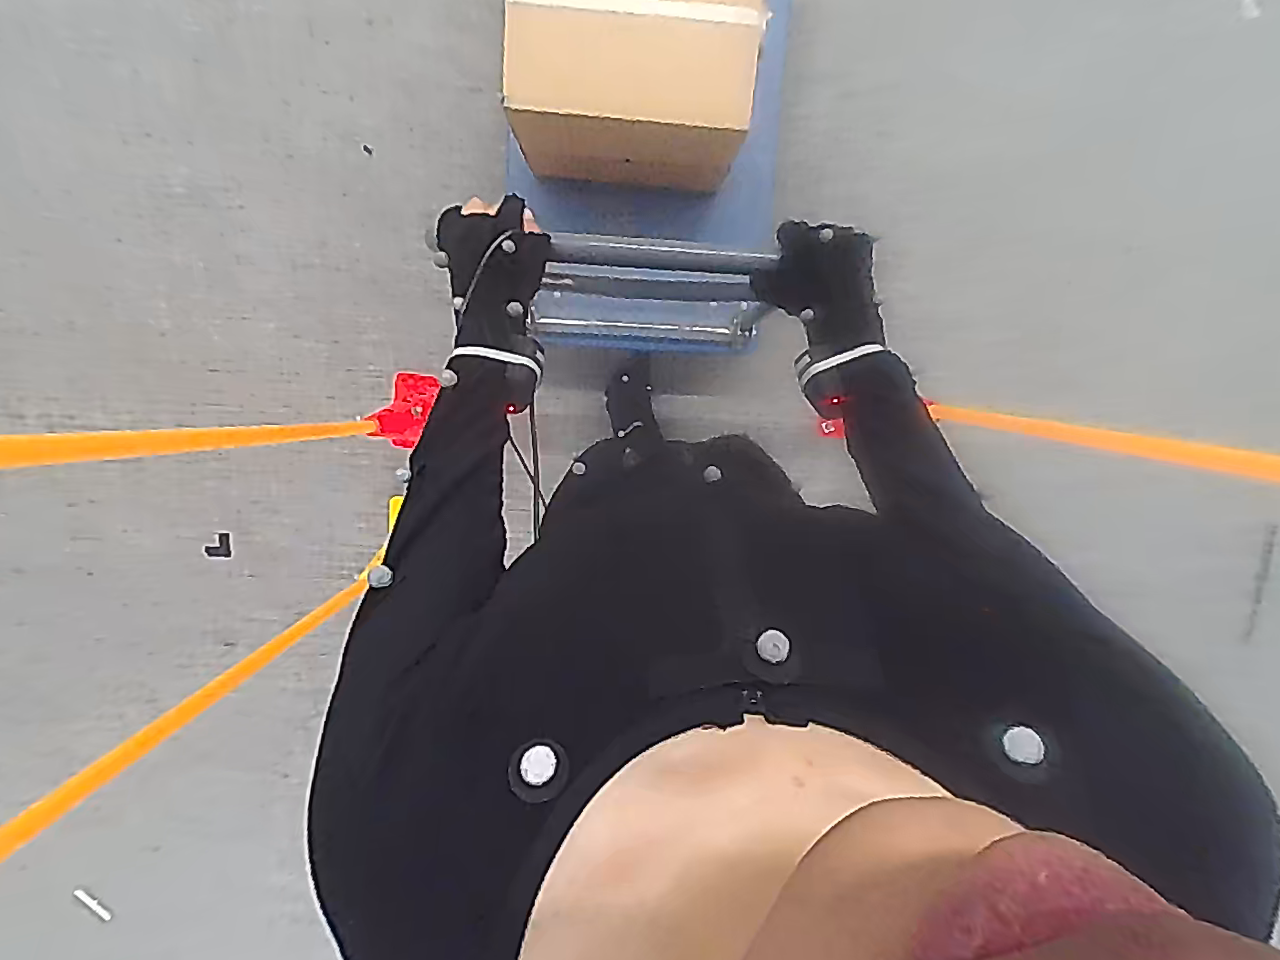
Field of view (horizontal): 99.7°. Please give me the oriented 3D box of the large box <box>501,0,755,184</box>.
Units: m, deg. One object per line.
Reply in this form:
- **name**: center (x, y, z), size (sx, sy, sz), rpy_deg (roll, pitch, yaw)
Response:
- **large box**: center (-0.019, -0.770, 0.996), size (0.408, 0.320, 0.320), rpy_deg (4, 101, -2)

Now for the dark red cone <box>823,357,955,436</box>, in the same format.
- **dark red cone**: center (0.592, -0.186, 1.254), size (0.201, 0.394, 0.202), rpy_deg (2, 101, -4)

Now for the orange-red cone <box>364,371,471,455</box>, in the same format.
- **orange-red cone**: center (-0.542, -0.146, 1.248), size (0.198, 0.360, 0.199), rpy_deg (9, 99, -4)
